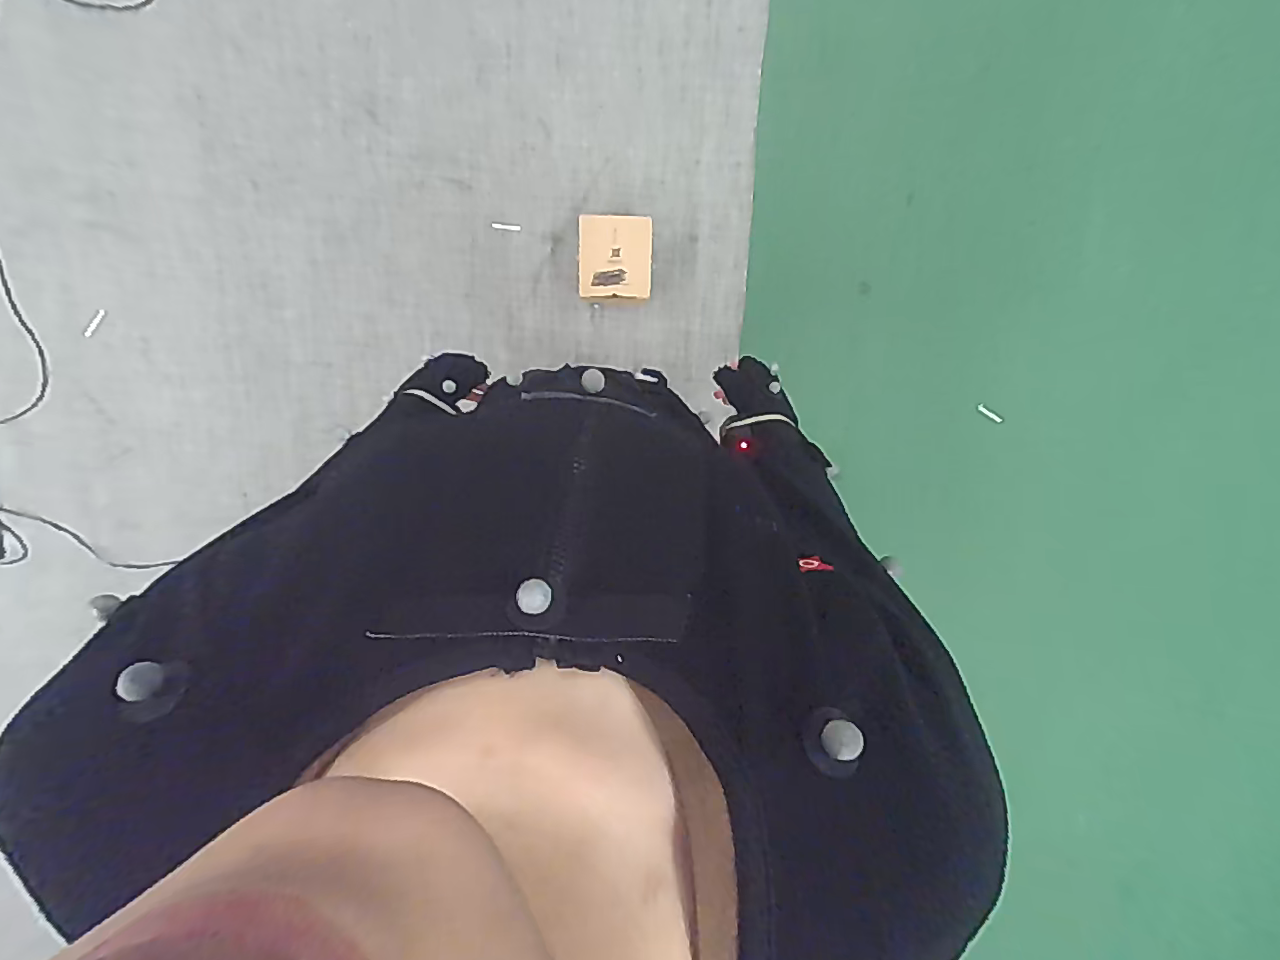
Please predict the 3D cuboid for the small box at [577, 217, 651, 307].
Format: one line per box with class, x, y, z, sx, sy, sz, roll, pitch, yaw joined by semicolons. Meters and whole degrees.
small box;-0.059;-0.514;1.294;0.168;0.176;0.179;2;102;-1
